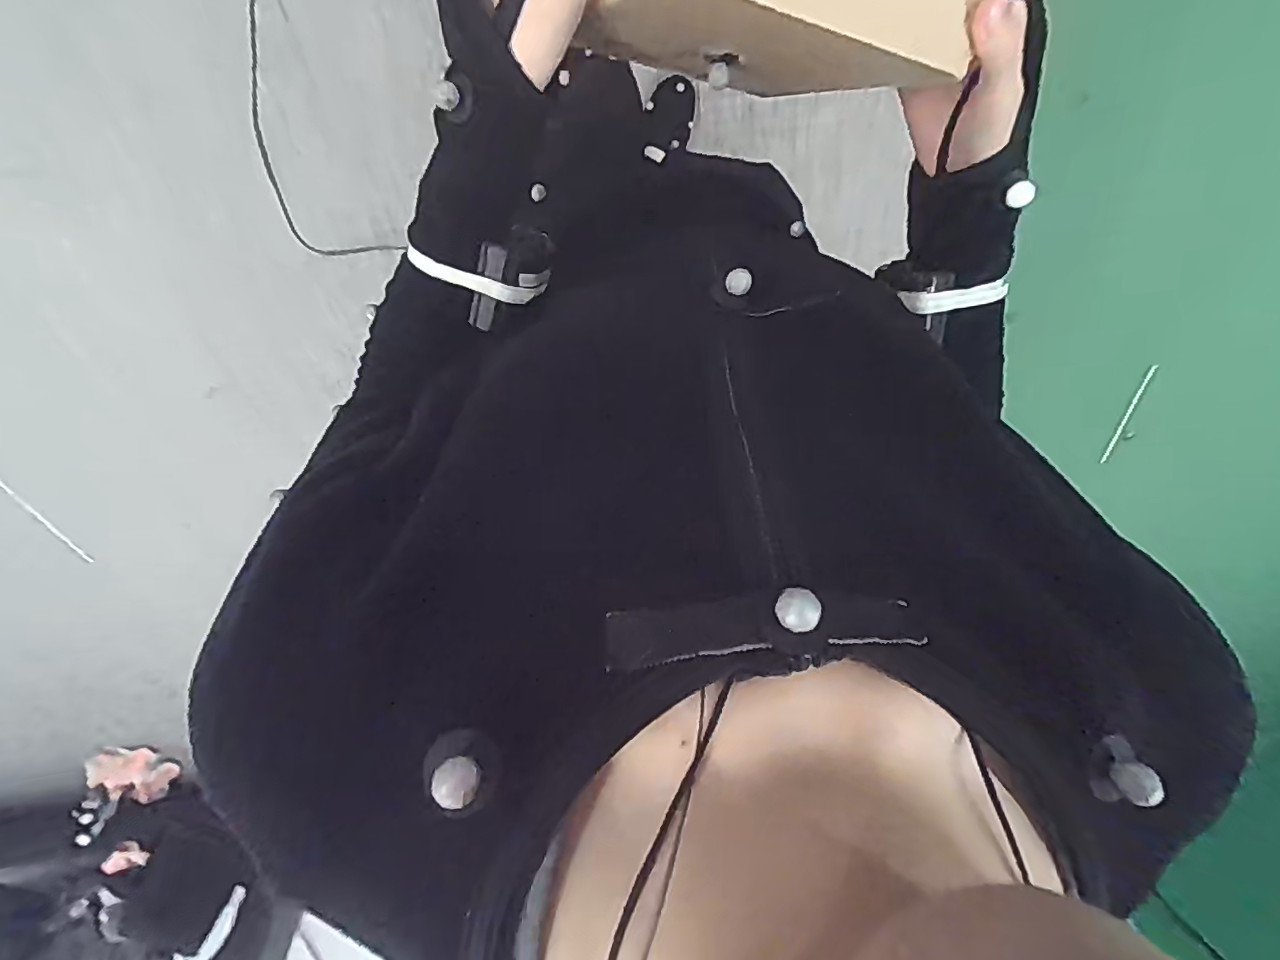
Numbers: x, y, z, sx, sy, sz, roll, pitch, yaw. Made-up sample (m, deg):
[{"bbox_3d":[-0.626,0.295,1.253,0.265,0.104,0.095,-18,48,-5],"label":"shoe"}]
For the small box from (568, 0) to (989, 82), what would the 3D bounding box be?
[{"bbox_3d":[0.062,-0.308,0.247,0.168,0.176,0.179,-6,121,-27],"label":"small box"}]
